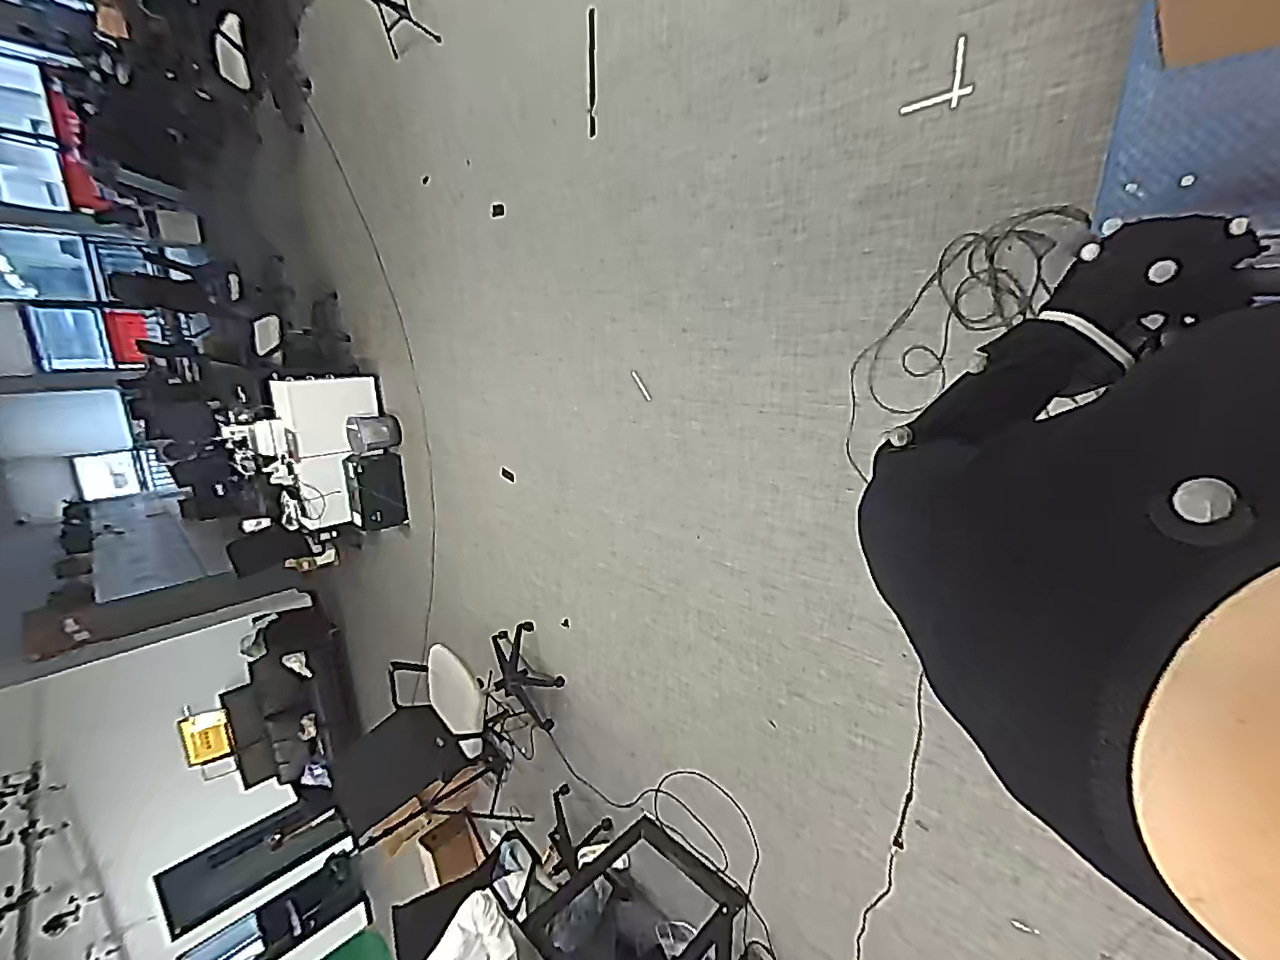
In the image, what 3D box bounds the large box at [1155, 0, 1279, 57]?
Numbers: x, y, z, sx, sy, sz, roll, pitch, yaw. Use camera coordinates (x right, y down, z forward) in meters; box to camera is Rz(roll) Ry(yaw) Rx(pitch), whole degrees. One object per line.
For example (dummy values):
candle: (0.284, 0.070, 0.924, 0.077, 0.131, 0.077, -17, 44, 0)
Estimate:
large box: (0.892, -0.748, 0.599, 0.408, 0.320, 0.320, 19, 114, 42)
